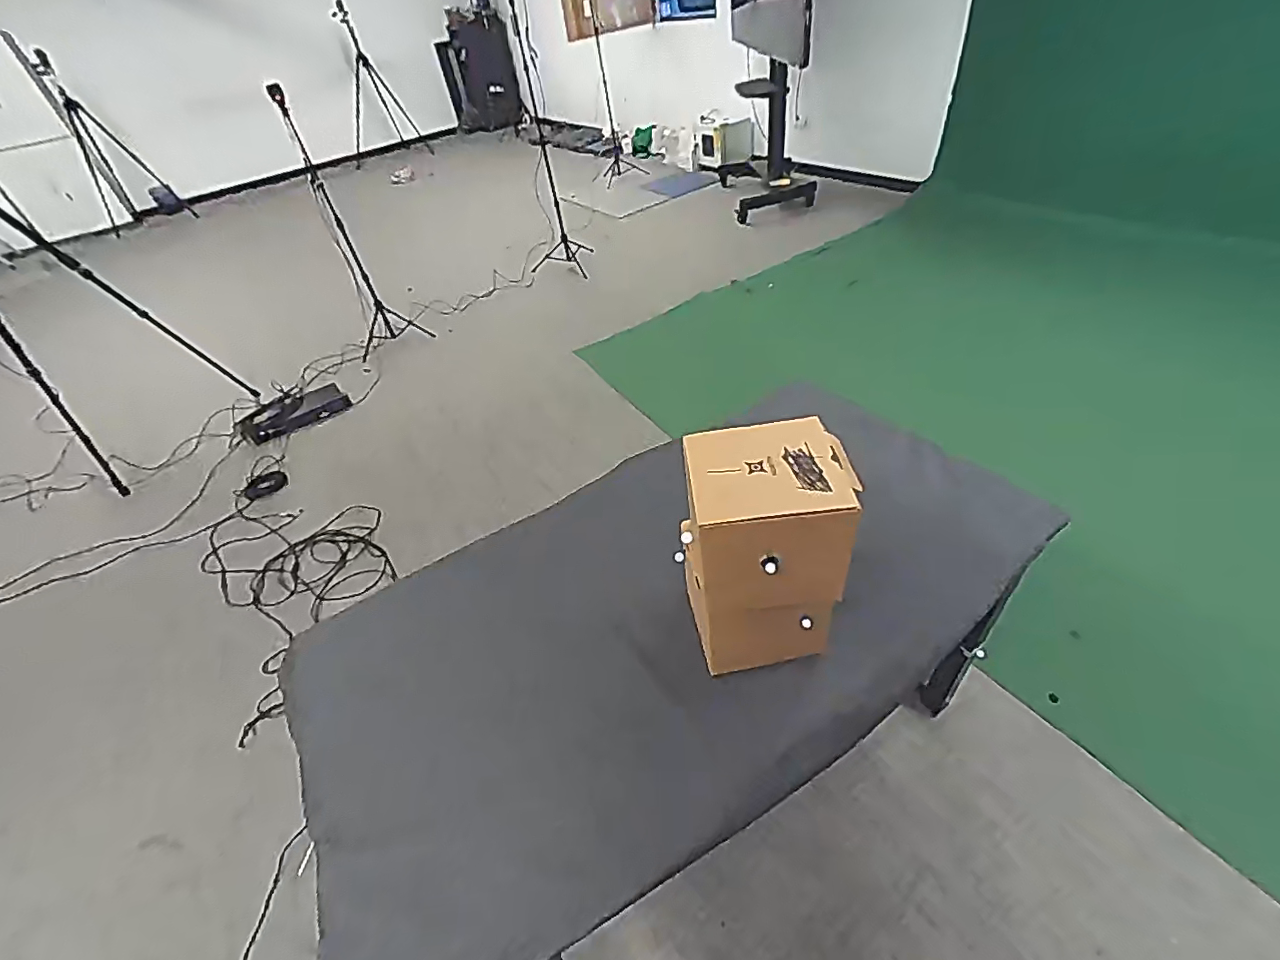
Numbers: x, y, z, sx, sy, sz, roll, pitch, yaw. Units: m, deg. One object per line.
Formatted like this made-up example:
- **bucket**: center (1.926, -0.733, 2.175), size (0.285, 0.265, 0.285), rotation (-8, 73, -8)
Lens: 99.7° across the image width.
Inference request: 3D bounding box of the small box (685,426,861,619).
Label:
- **small box**: center (0.153, 0.056, 0.679), size (0.179, 0.176, 0.168), rotation (-7, 41, 4)
